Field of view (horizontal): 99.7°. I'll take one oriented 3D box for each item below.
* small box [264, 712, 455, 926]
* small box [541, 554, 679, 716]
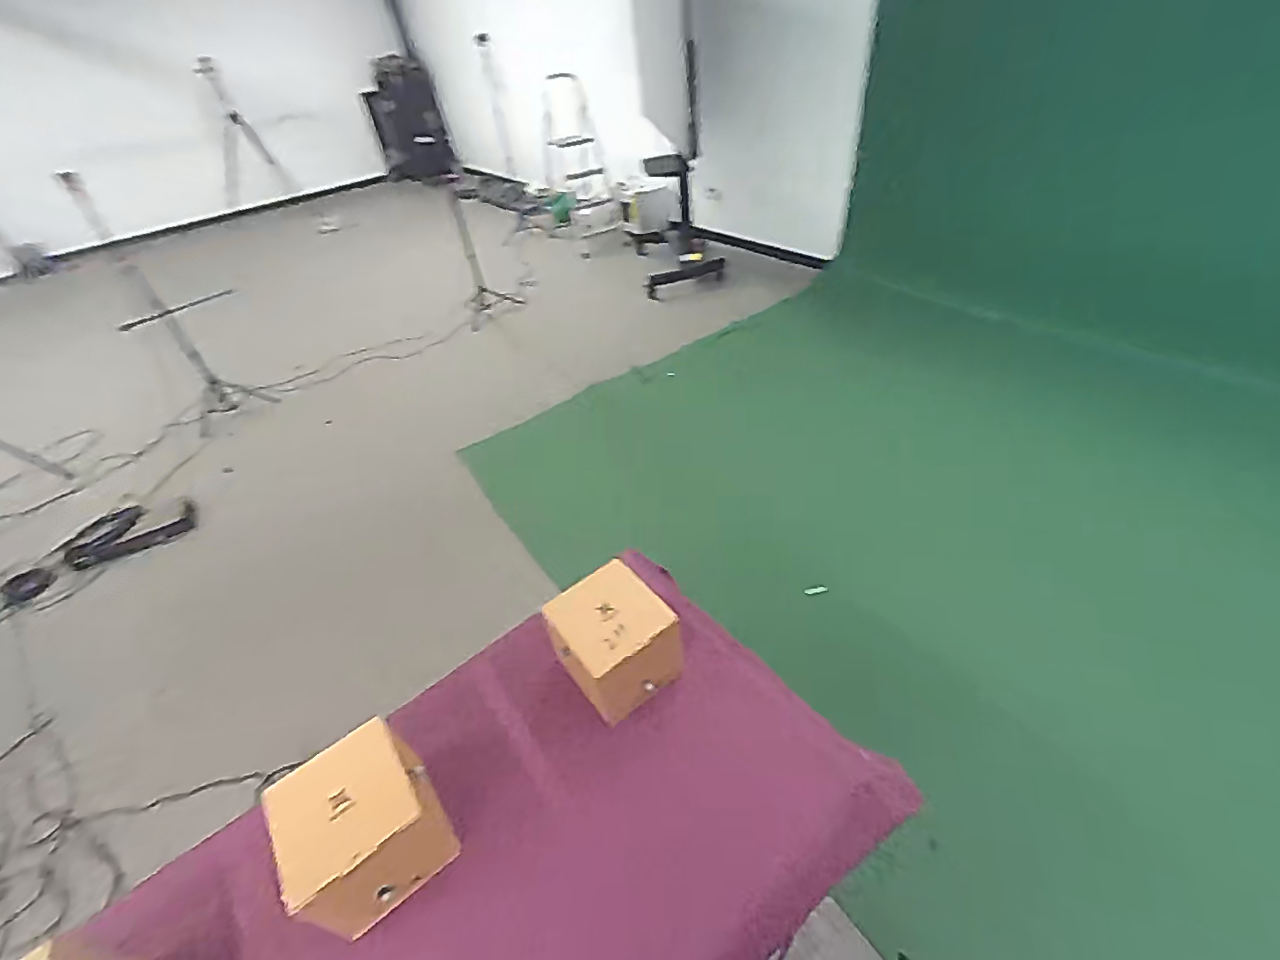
[{"bbox_3d":[-0.391,0.480,0.769,0.168,0.176,0.179,-31,48,-25],"label":"small box"},{"bbox_3d":[-0.048,0.272,0.950,0.168,0.176,0.179,-31,47,-23],"label":"small box"}]
